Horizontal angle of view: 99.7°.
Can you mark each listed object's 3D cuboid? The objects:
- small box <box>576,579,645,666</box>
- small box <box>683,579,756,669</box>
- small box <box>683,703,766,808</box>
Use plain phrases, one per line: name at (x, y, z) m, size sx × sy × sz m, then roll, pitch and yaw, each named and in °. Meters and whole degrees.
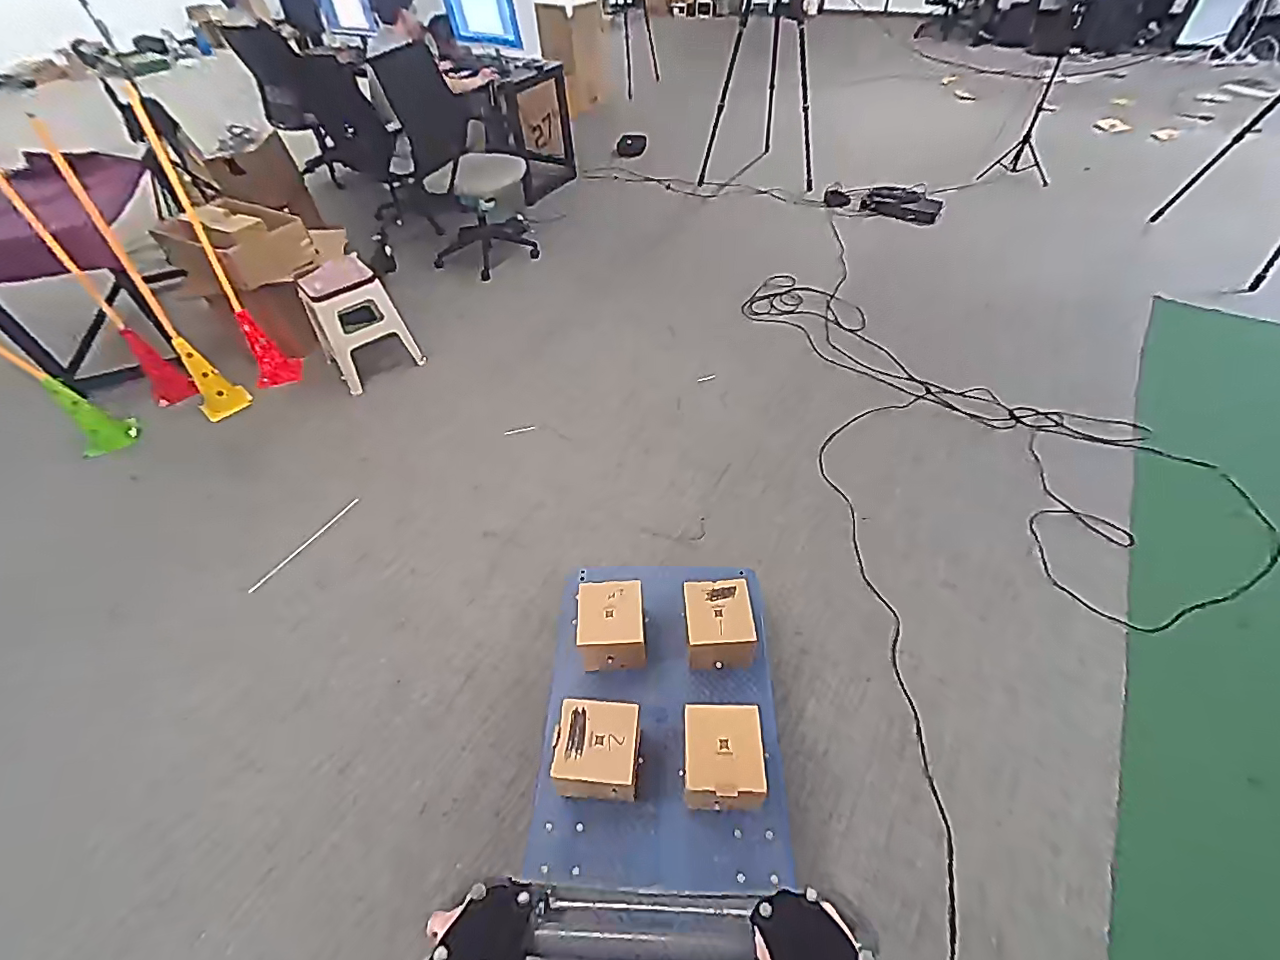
small box at (-0.074, 0.384, 1.433) m, size 0.168 × 0.176 × 0.179 m, roll -2°, pitch 49°, yaw 0°
small box at (0.202, 0.379, 1.423) m, size 0.168 × 0.176 × 0.179 m, roll -3°, pitch 50°, yaw 1°
small box at (0.182, 0.621, 1.217) m, size 0.168 × 0.176 × 0.179 m, roll 0°, pitch 50°, yaw 3°
